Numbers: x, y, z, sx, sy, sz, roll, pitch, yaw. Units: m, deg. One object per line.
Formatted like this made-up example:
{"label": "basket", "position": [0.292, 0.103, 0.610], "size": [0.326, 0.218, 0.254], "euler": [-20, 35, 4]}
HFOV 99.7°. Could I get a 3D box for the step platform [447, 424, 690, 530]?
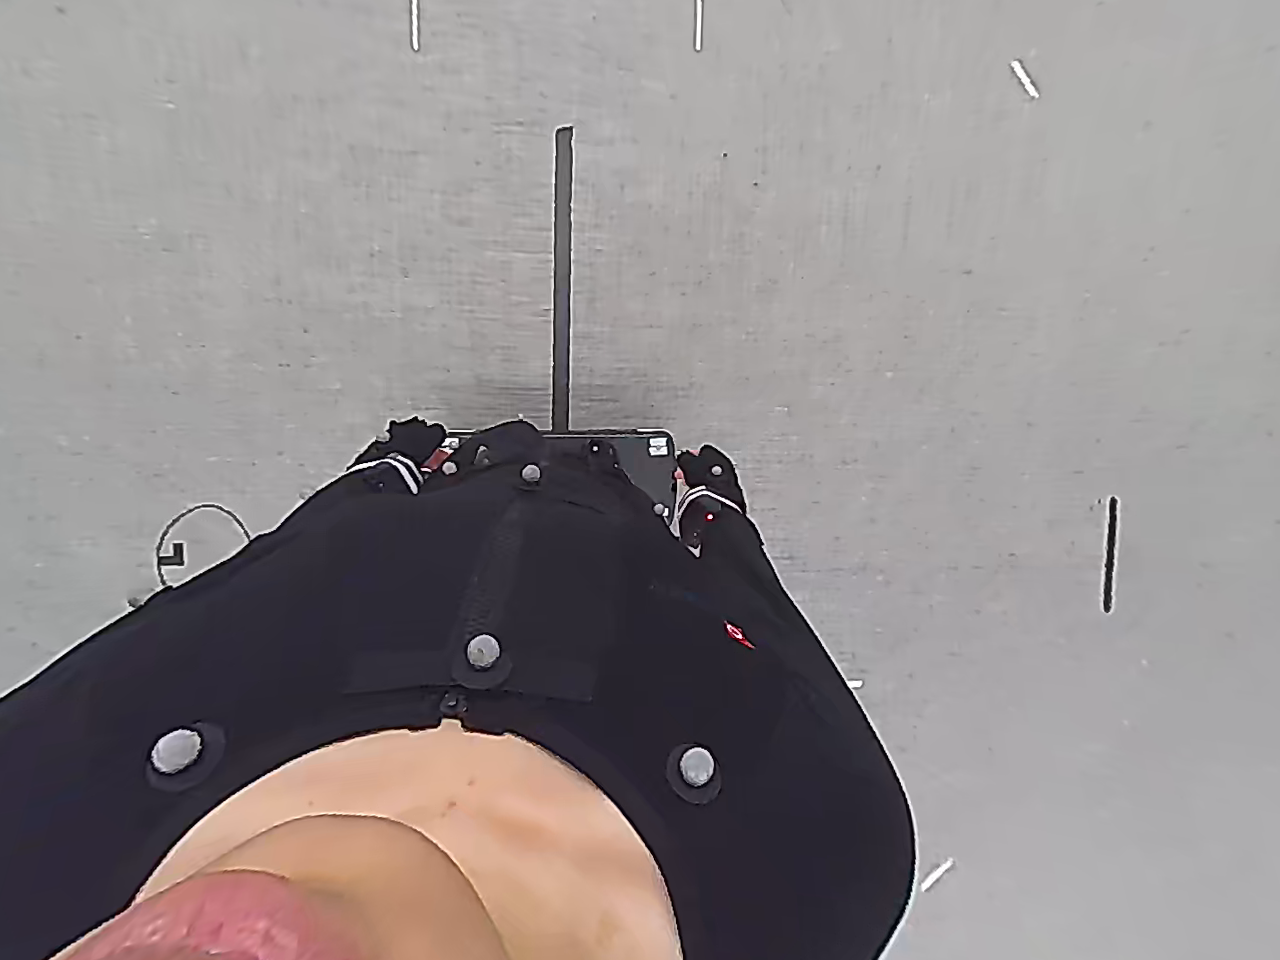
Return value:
{"label": "step platform", "position": [-0.196, -0.013, 1.565], "size": [0.684, 0.204, 0.286], "euler": [-2, 95, -5]}
